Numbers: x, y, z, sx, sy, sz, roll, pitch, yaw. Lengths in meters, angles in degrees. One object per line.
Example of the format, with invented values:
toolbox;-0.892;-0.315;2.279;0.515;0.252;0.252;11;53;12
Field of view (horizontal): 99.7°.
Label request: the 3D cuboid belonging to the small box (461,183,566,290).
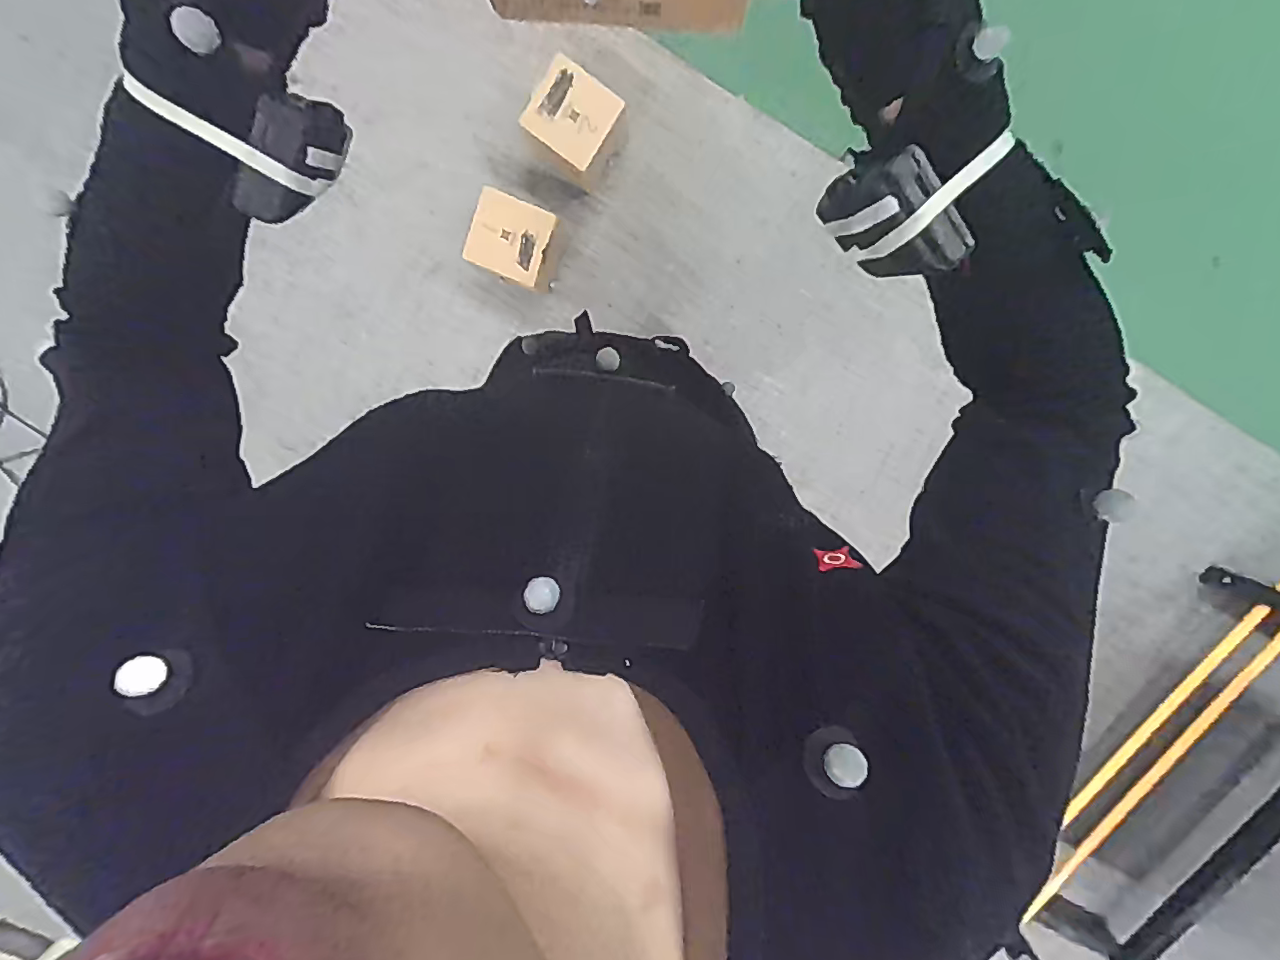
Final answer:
small box;-0.288;-0.560;1.272;0.179;0.176;0.168;22;102;-3
